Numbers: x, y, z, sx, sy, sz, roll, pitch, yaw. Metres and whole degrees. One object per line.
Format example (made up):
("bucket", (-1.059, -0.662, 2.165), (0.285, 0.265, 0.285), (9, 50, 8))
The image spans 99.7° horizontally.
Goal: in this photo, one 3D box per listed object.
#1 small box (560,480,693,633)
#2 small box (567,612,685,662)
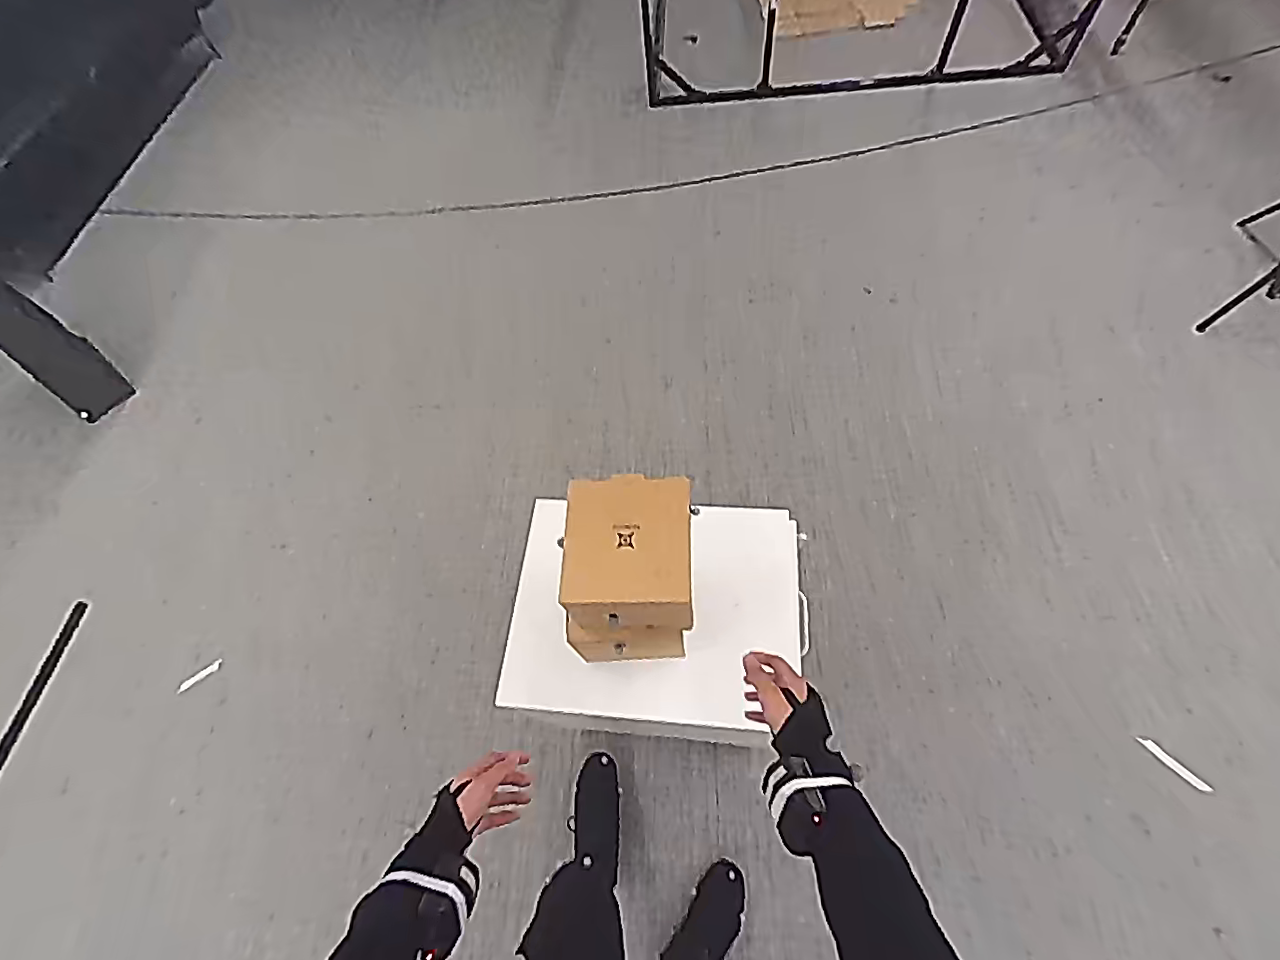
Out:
("small box", (-0.009, 0.117, 0.776), (0.168, 0.176, 0.179), (-2, 60, 5))
("small box", (-0.018, 0.208, 0.913), (0.179, 0.176, 0.168), (-4, 61, 3))
